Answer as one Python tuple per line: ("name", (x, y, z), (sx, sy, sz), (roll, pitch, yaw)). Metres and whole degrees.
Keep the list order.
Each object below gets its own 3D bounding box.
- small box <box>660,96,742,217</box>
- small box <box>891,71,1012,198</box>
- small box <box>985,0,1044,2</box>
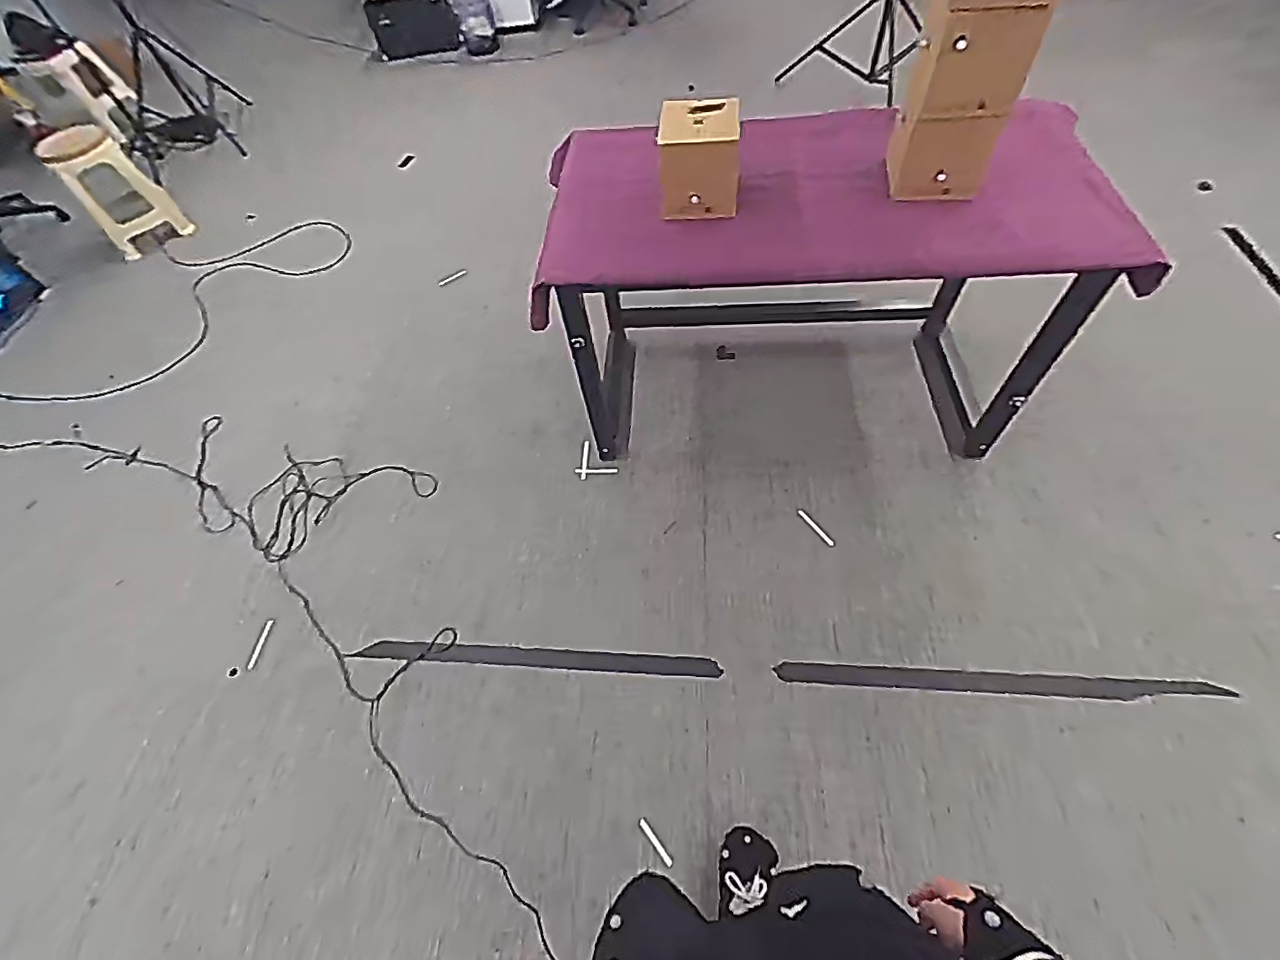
("small box", (0.135, -0.703, 1.182), (0.168, 0.176, 0.179), (2, 59, 8))
("small box", (0.640, -0.723, 1.136), (0.168, 0.176, 0.179), (5, 59, 10))
("small box", (0.603, -0.891, 0.858), (0.168, 0.176, 0.179), (7, 58, 10))
